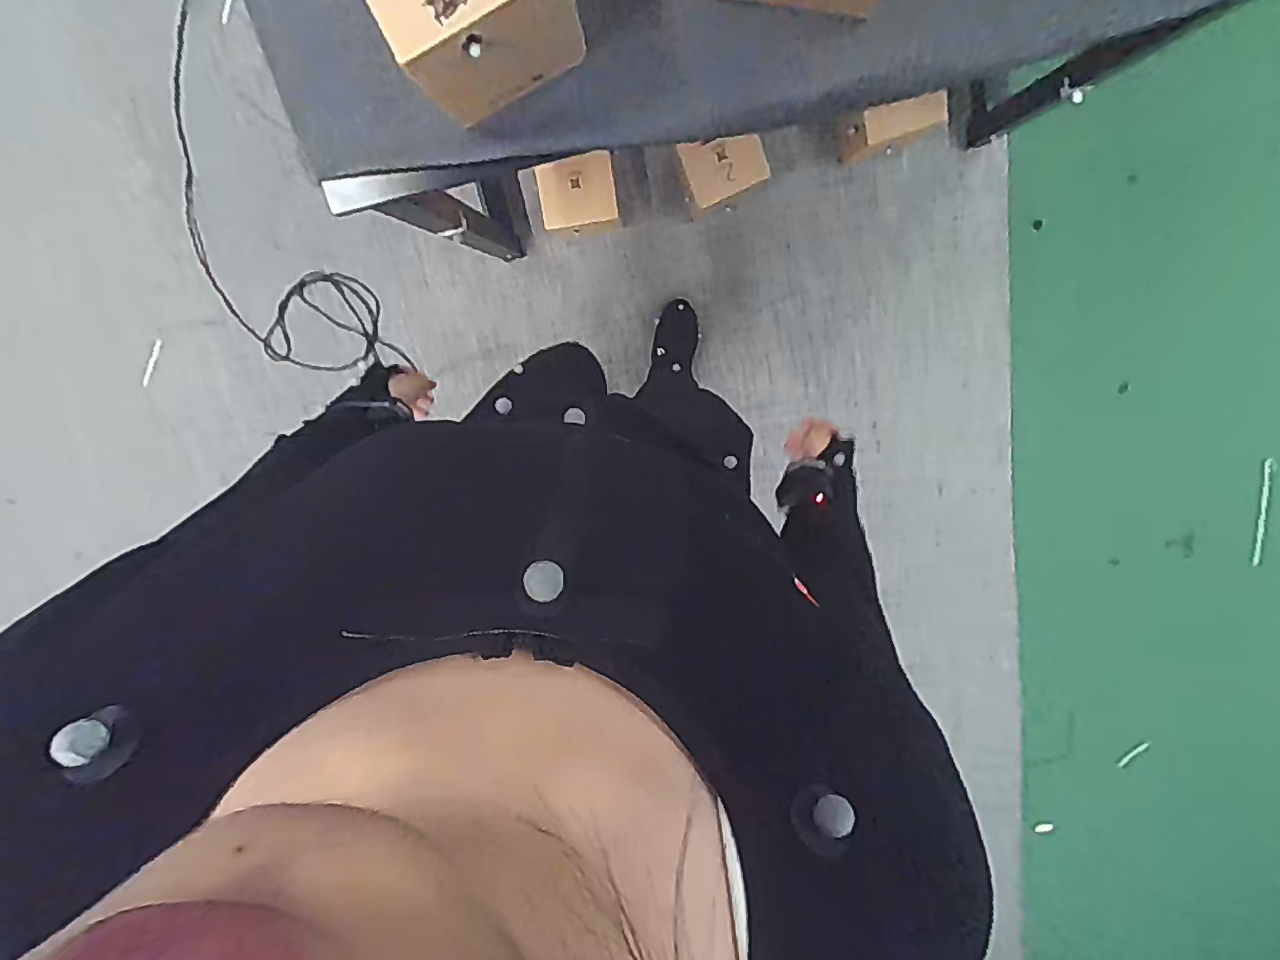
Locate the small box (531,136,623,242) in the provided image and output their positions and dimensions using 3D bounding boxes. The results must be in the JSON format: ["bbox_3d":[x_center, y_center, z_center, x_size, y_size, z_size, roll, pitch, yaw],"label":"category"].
[{"bbox_3d":[-0.135,-0.650,1.232,0.168,0.176,0.179,-7,105,4],"label":"small box"}]

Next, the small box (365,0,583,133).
[{"bbox_3d":[-0.169,-0.482,0.519,0.168,0.176,0.179,-24,104,8],"label":"small box"}]

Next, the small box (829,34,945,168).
[{"bbox_3d":[0.525,-0.798,1.165,0.168,0.176,0.179,-16,105,6],"label":"small box"}]
